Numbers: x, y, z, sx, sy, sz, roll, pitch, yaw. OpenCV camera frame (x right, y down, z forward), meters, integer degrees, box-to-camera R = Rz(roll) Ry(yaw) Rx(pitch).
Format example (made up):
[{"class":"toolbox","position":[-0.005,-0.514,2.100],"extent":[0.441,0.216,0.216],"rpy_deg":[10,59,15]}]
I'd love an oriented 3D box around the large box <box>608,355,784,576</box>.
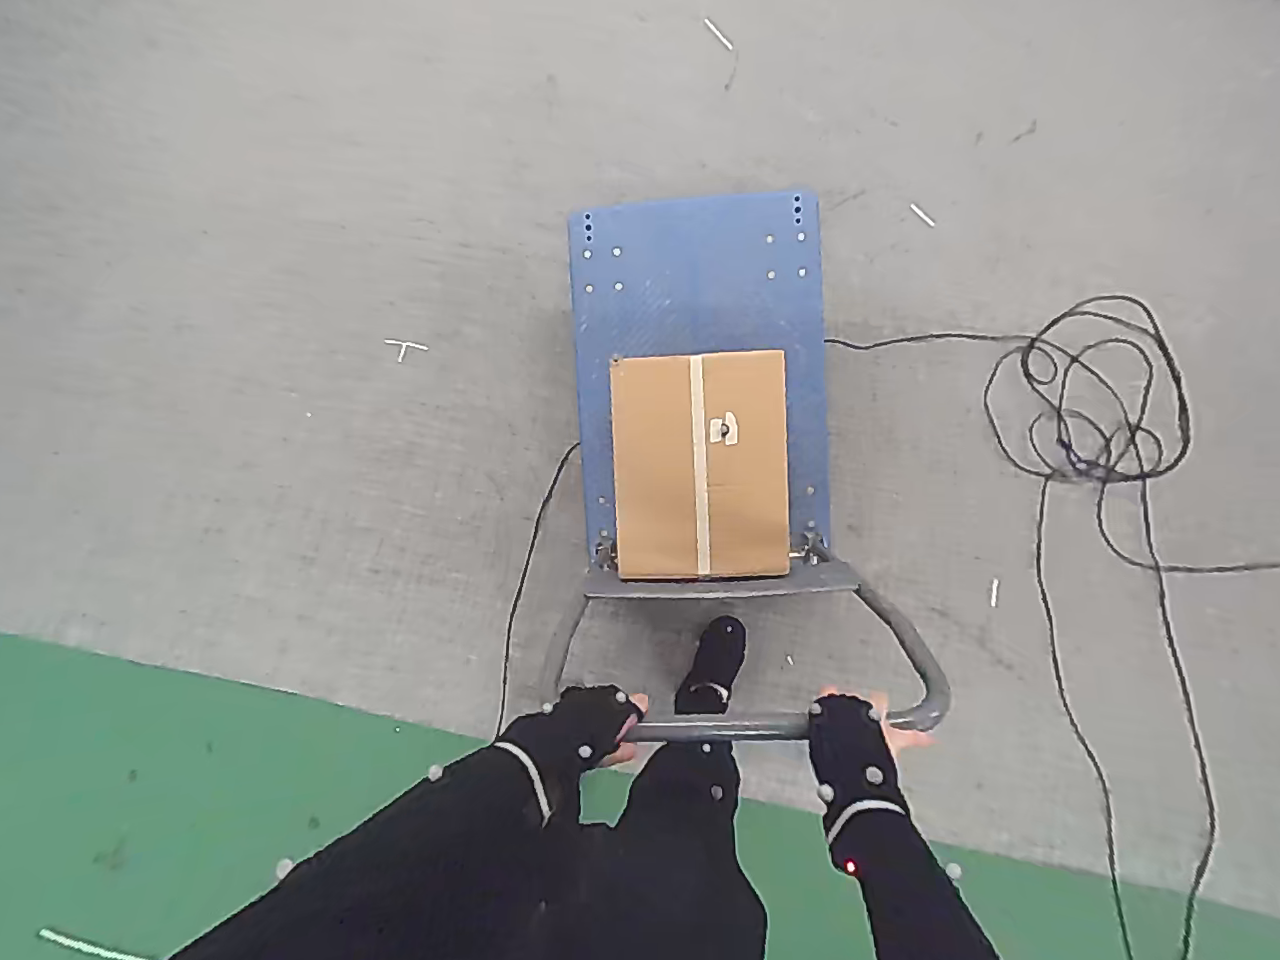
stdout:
[{"class":"large box","position":[0.116,-0.026,1.151],"extent":[0.320,0.320,0.408],"rpy_deg":[-2,92,4]}]
